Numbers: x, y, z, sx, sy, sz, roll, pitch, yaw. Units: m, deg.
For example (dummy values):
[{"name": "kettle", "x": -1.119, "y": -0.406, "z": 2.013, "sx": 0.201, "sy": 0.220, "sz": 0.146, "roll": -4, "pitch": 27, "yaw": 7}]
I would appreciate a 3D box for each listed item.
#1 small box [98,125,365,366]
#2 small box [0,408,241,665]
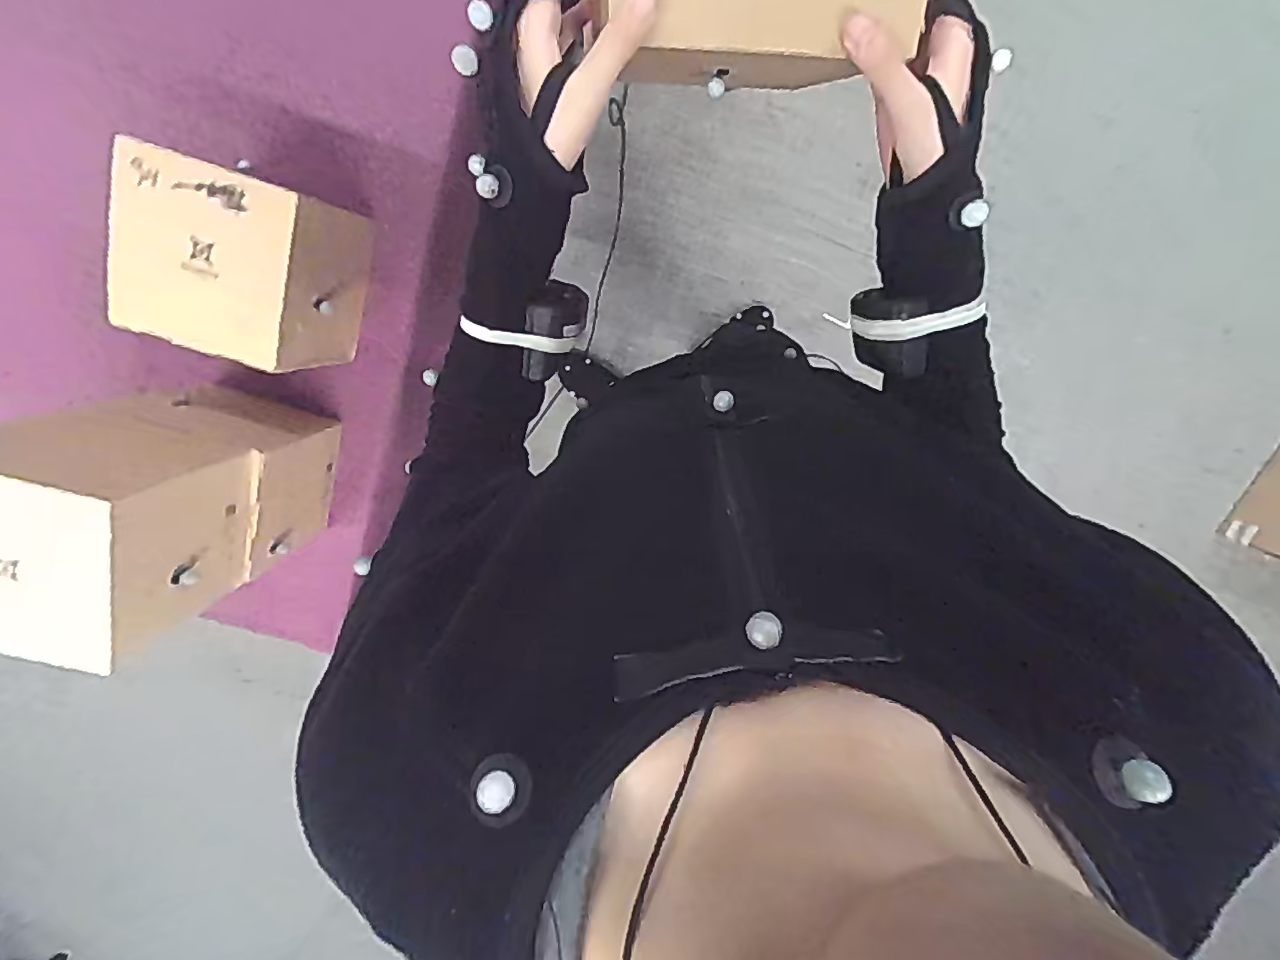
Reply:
[{"name": "small box", "x": -0.430, "y": -0.242, "z": 0.594, "sx": 0.168, "sy": 0.176, "sz": 0.179, "roll": 18, "pitch": 106, "yaw": -6}, {"name": "small box", "x": -0.520, "y": 0.039, "z": 0.510, "sx": 0.179, "sy": 0.176, "sz": 0.168, "roll": 15, "pitch": 106, "yaw": -3}]
